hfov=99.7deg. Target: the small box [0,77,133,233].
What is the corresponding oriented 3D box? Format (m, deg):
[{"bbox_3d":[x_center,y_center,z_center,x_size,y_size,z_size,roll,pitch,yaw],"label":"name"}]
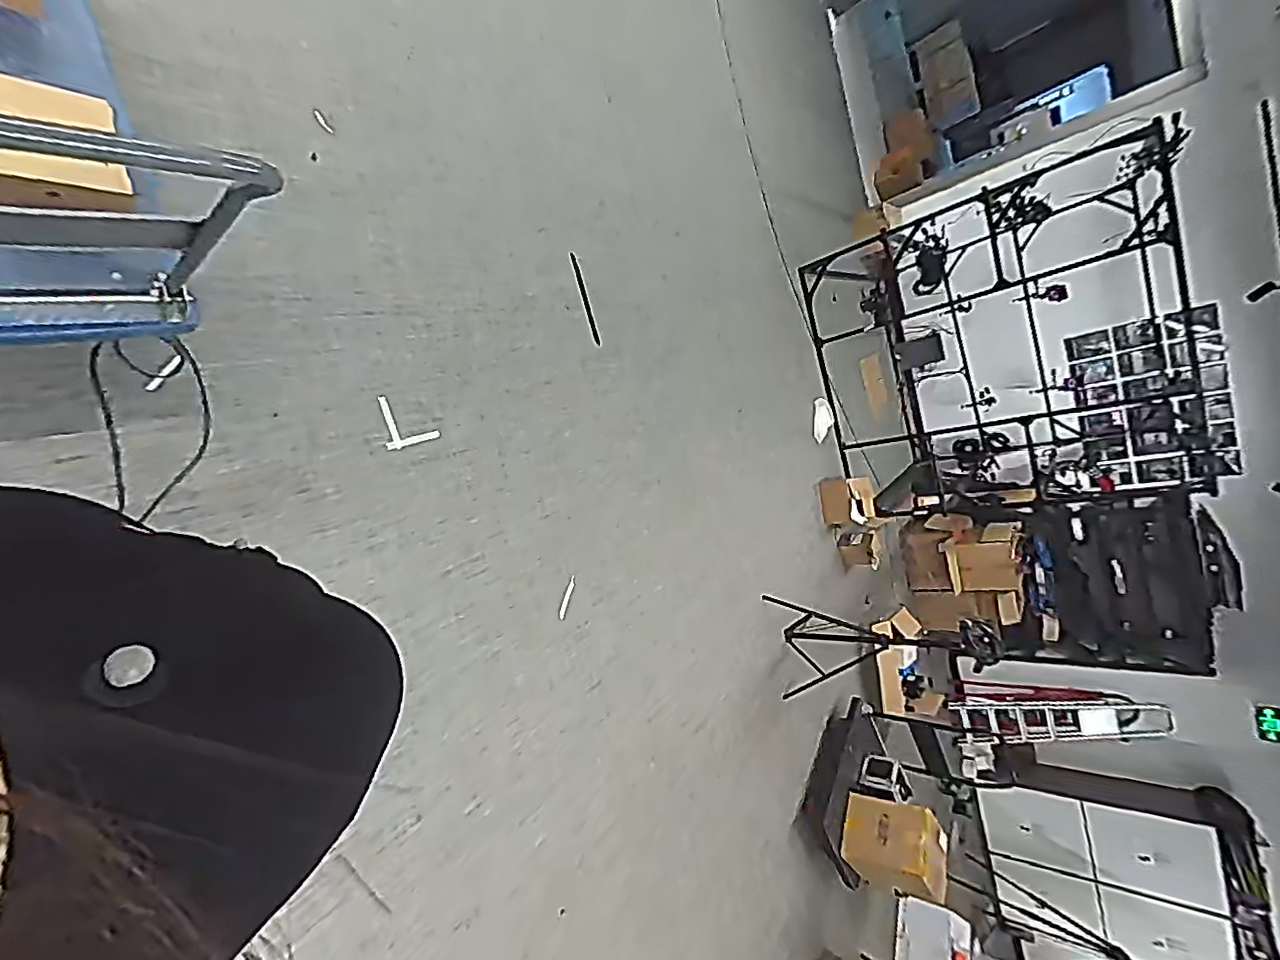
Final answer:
[{"bbox_3d":[-1.023,-0.550,0.936,0.179,0.176,0.168,-16,96,-49],"label":"small box"}]
